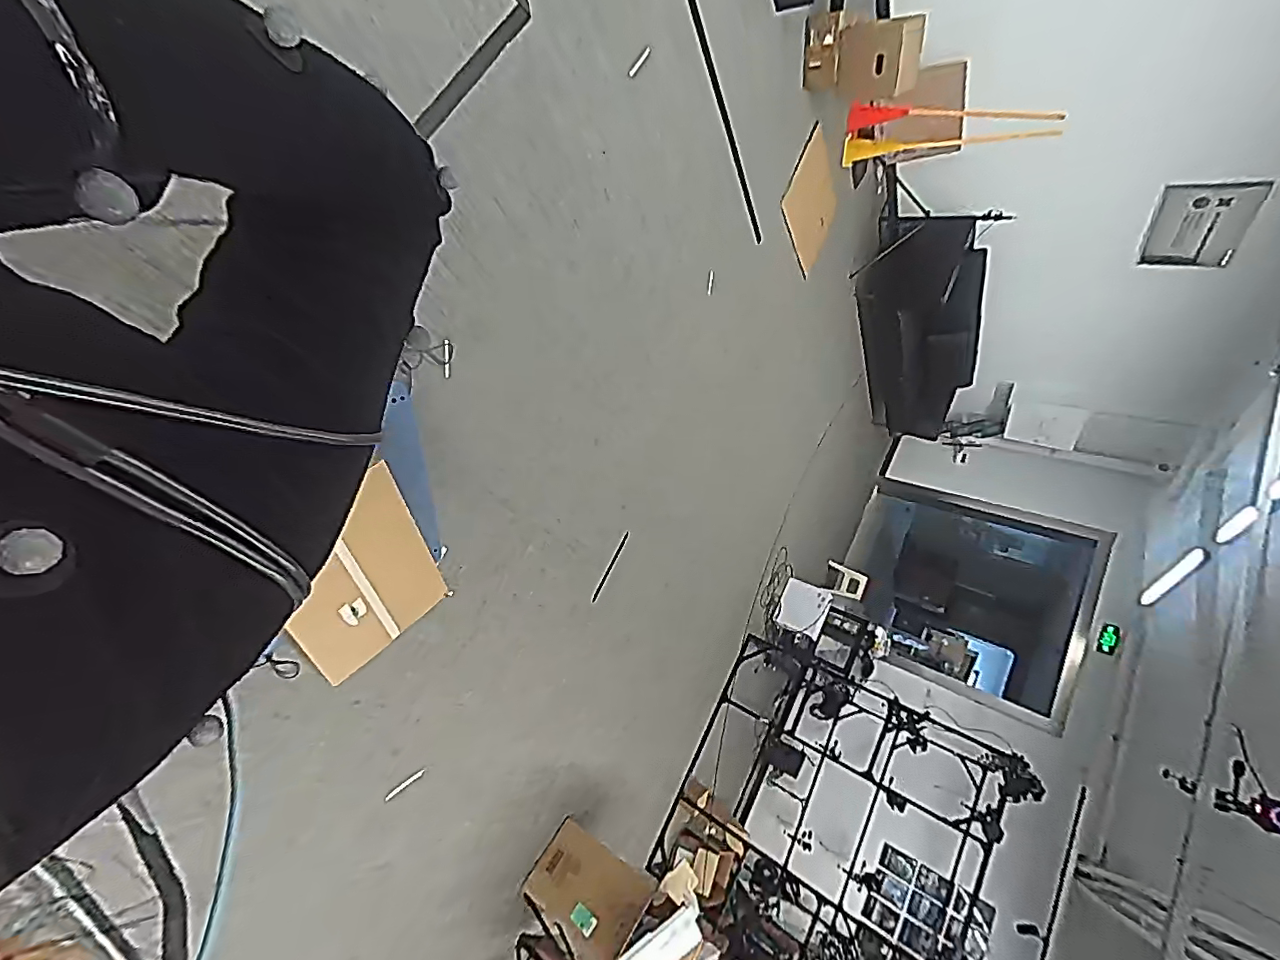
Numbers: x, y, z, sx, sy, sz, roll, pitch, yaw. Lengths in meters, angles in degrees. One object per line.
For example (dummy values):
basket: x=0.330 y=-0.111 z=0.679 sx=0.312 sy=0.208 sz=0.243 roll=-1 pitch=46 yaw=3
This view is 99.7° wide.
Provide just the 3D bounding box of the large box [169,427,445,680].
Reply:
large box: x=-0.713 y=0.150 z=1.204 sx=0.320 sy=0.320 sz=0.408 roll=-41 pitch=137 yaw=-37
